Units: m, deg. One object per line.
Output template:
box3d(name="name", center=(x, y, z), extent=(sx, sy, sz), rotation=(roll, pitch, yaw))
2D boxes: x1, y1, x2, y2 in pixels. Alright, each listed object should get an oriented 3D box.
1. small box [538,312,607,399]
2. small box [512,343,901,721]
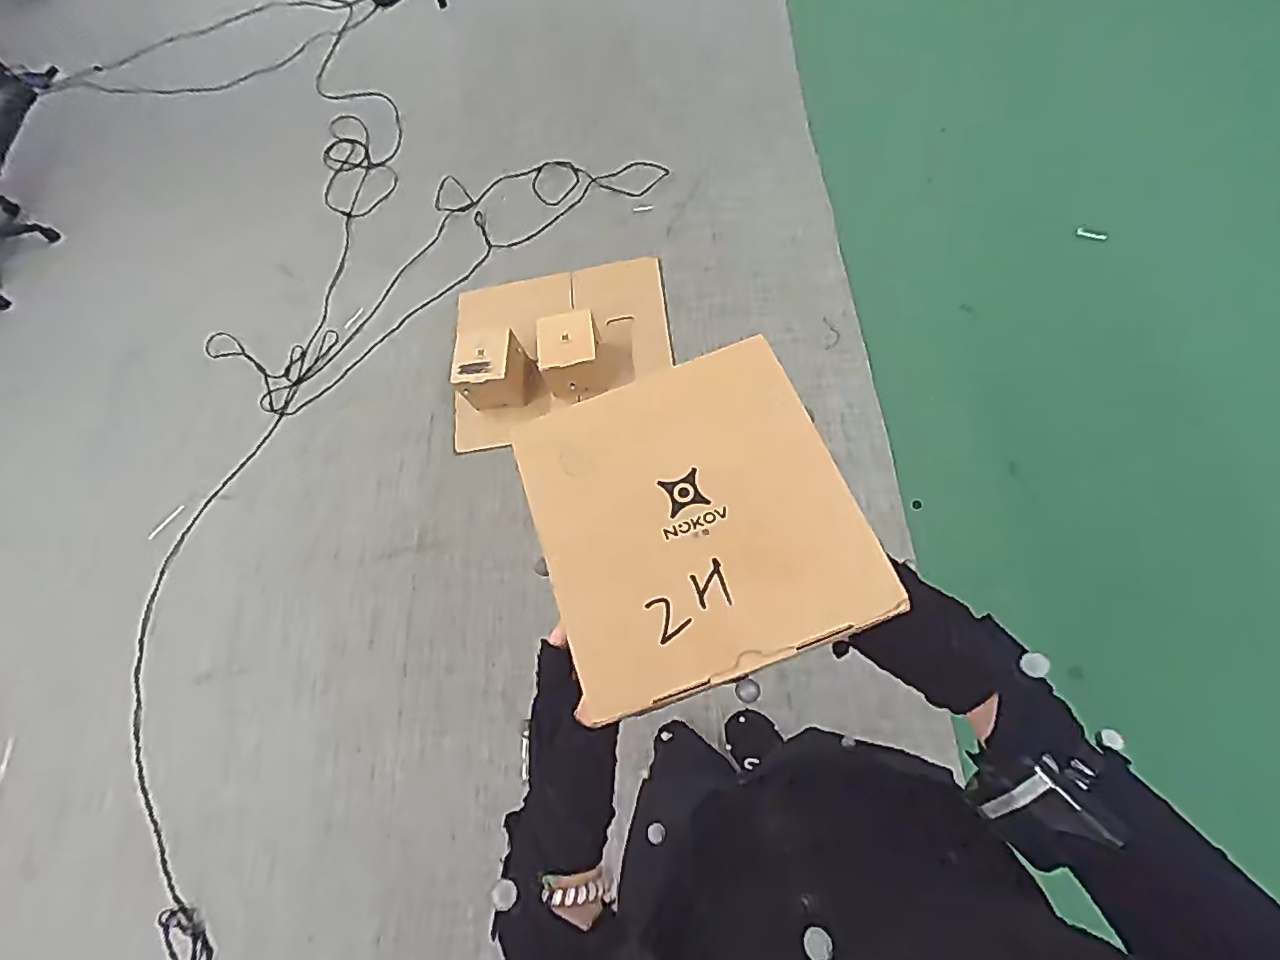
box3d(name="small box", center=(-0.198, -0.365, 1.603), extent=(0.168, 0.176, 0.179), rotation=(-10, 69, 5))
box3d(name="small box", center=(0.034, 0.046, 0.367), extent=(0.168, 0.176, 0.179), rotation=(-21, 67, 0))
